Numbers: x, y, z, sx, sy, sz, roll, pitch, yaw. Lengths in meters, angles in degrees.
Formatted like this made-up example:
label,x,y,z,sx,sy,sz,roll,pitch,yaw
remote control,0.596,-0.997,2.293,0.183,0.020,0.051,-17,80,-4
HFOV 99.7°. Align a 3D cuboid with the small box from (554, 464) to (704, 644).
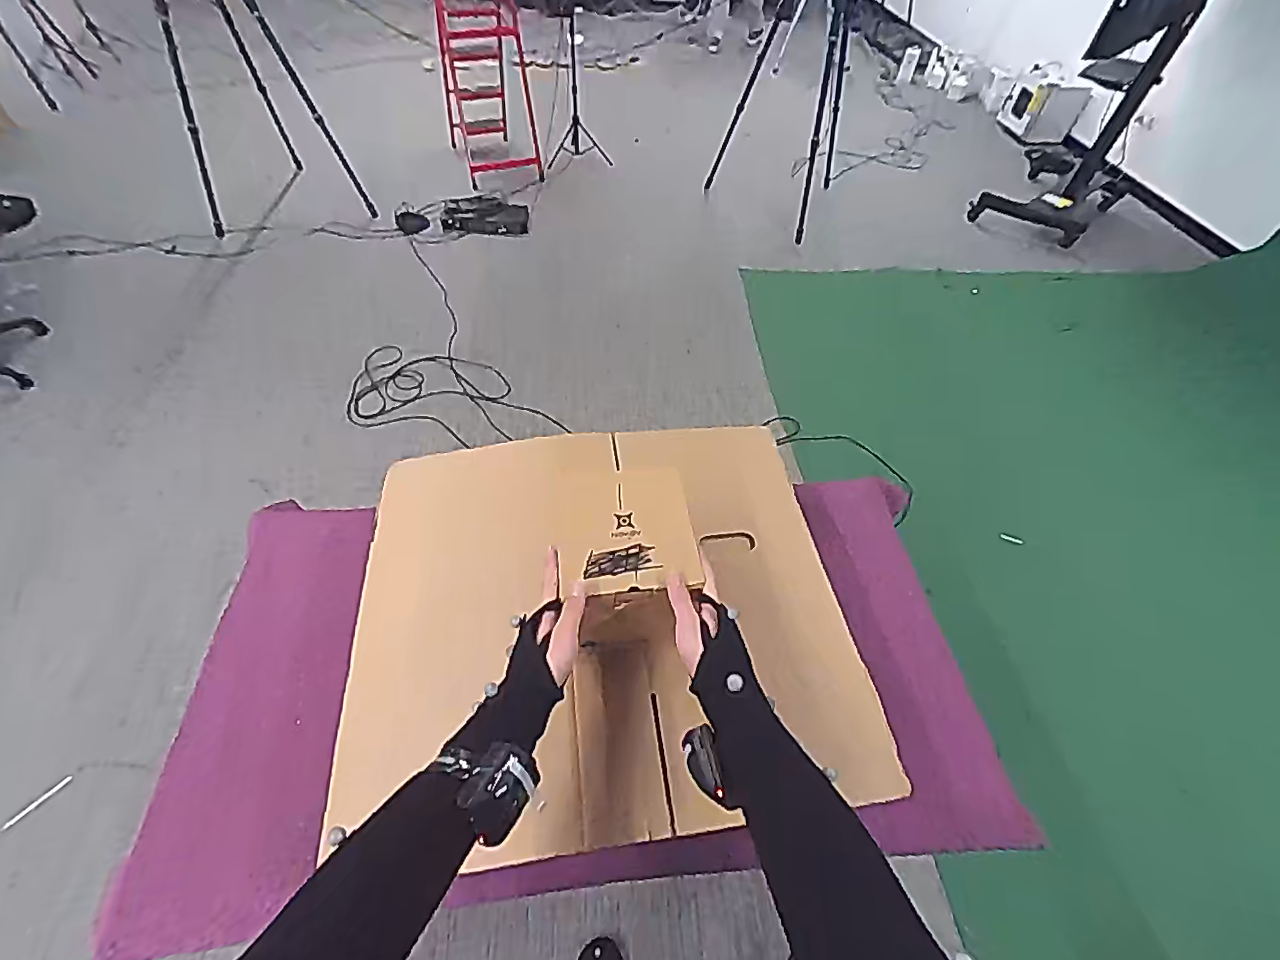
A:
label,x,y,z,sx,sy,sz,roll,pitch,yaw
small box,-0.023,0.102,0.705,0.168,0.176,0.179,-4,52,-9
